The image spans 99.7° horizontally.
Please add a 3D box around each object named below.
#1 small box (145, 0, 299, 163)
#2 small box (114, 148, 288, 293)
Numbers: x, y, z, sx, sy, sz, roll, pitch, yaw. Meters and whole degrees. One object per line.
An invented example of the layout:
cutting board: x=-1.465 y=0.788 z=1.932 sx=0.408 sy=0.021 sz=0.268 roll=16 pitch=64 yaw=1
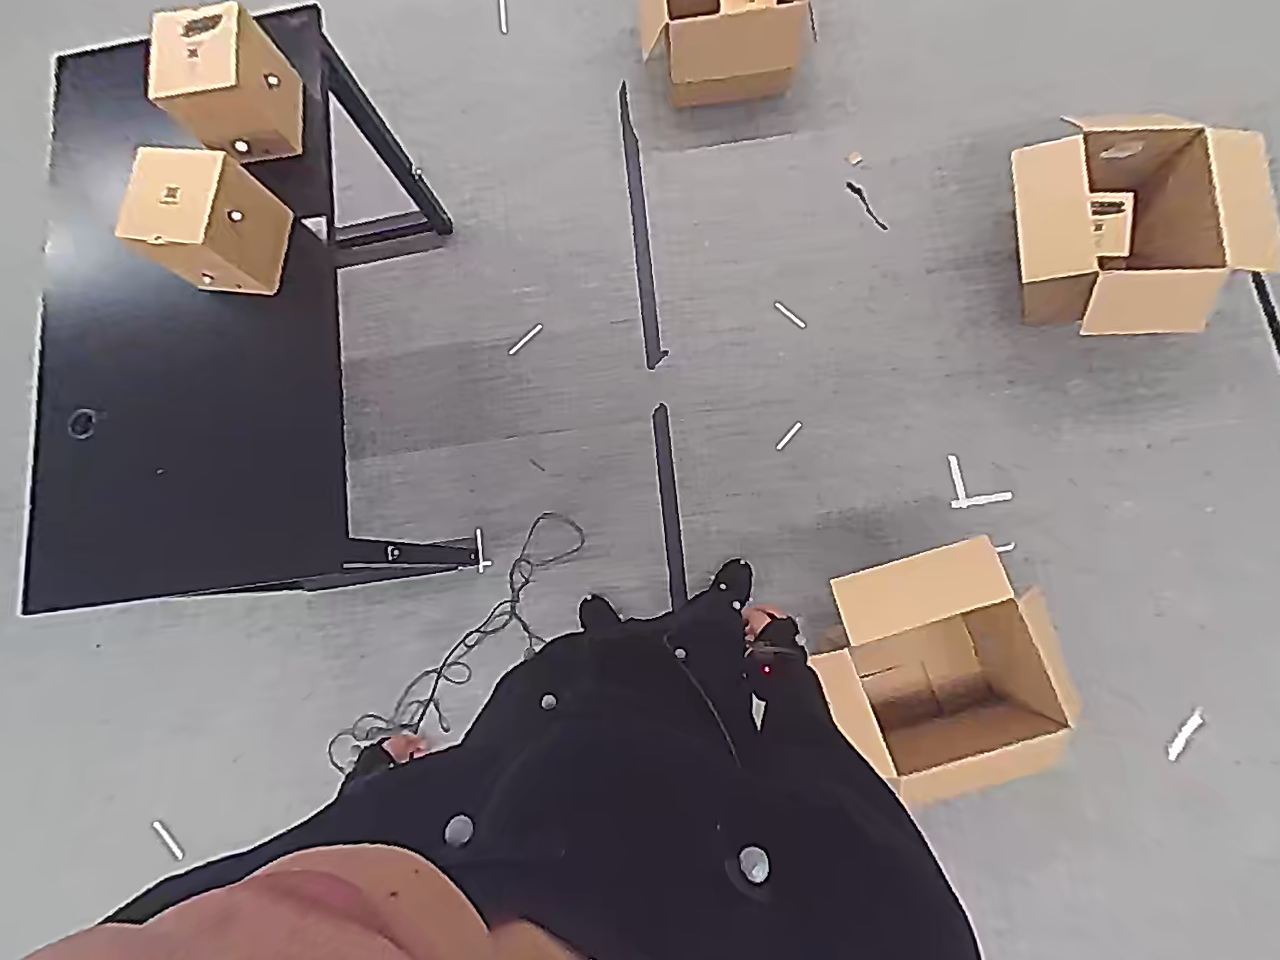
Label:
small box: x=-0.780 y=-0.744 z=1.026 sx=0.168 sy=0.176 sz=0.179 roll=-6 pitch=83 yaw=5
small box: x=-0.785 y=-0.466 z=0.987 sx=0.168 sy=0.176 sz=0.179 roll=5 pitch=83 yaw=6
